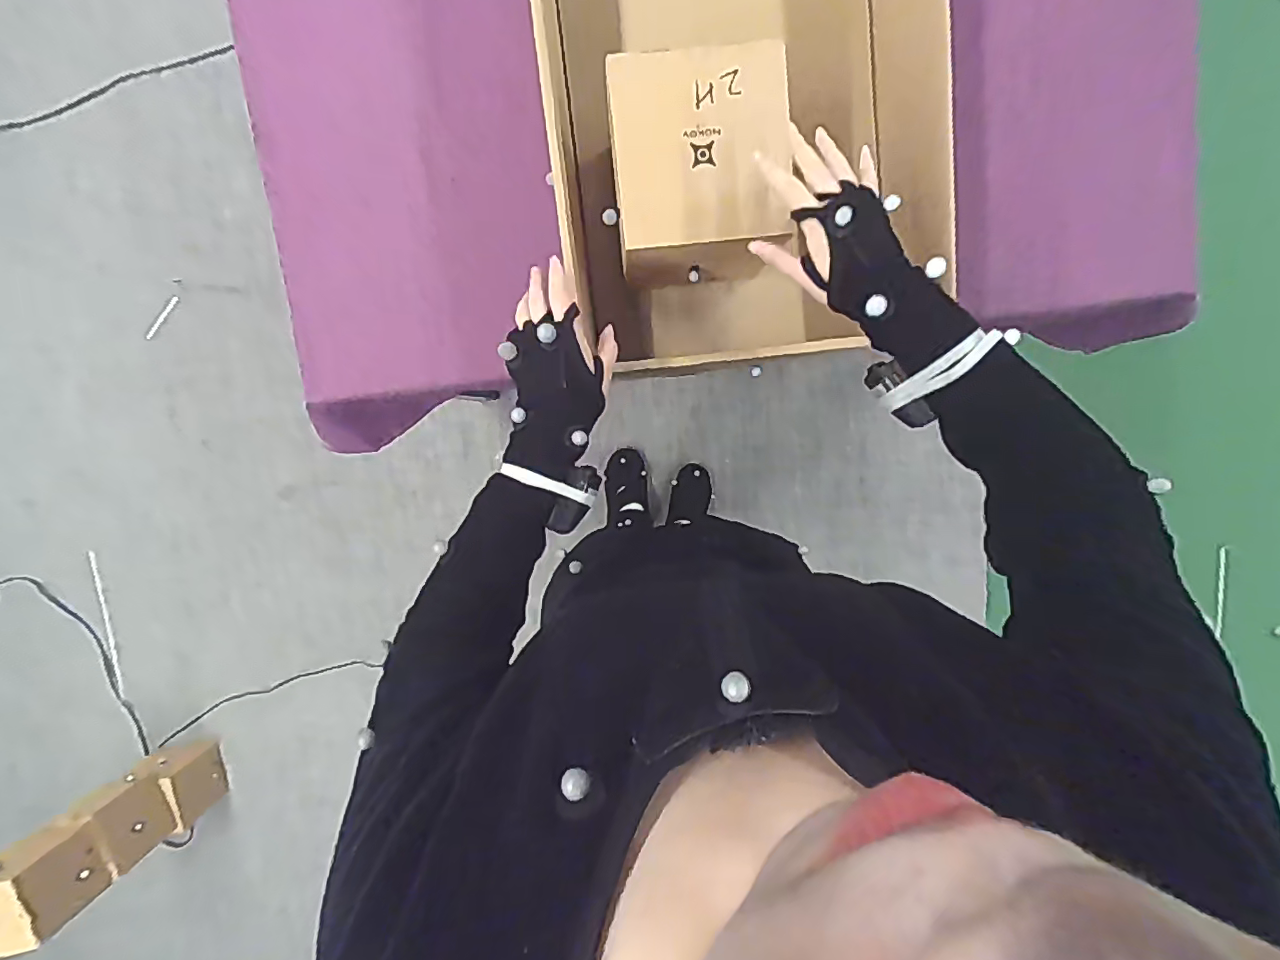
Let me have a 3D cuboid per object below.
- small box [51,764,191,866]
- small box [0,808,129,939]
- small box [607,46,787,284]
[{"bbox_3d":[-1.330,0.868,1.398,0.168,0.176,0.179,-17,98,4],"label":"small box"},{"bbox_3d":[-1.349,0.893,1.237,0.179,0.176,0.168,-14,97,3],"label":"small box"},{"bbox_3d":[0.057,-0.323,0.594,0.168,0.176,0.179,-5,97,0],"label":"small box"}]
